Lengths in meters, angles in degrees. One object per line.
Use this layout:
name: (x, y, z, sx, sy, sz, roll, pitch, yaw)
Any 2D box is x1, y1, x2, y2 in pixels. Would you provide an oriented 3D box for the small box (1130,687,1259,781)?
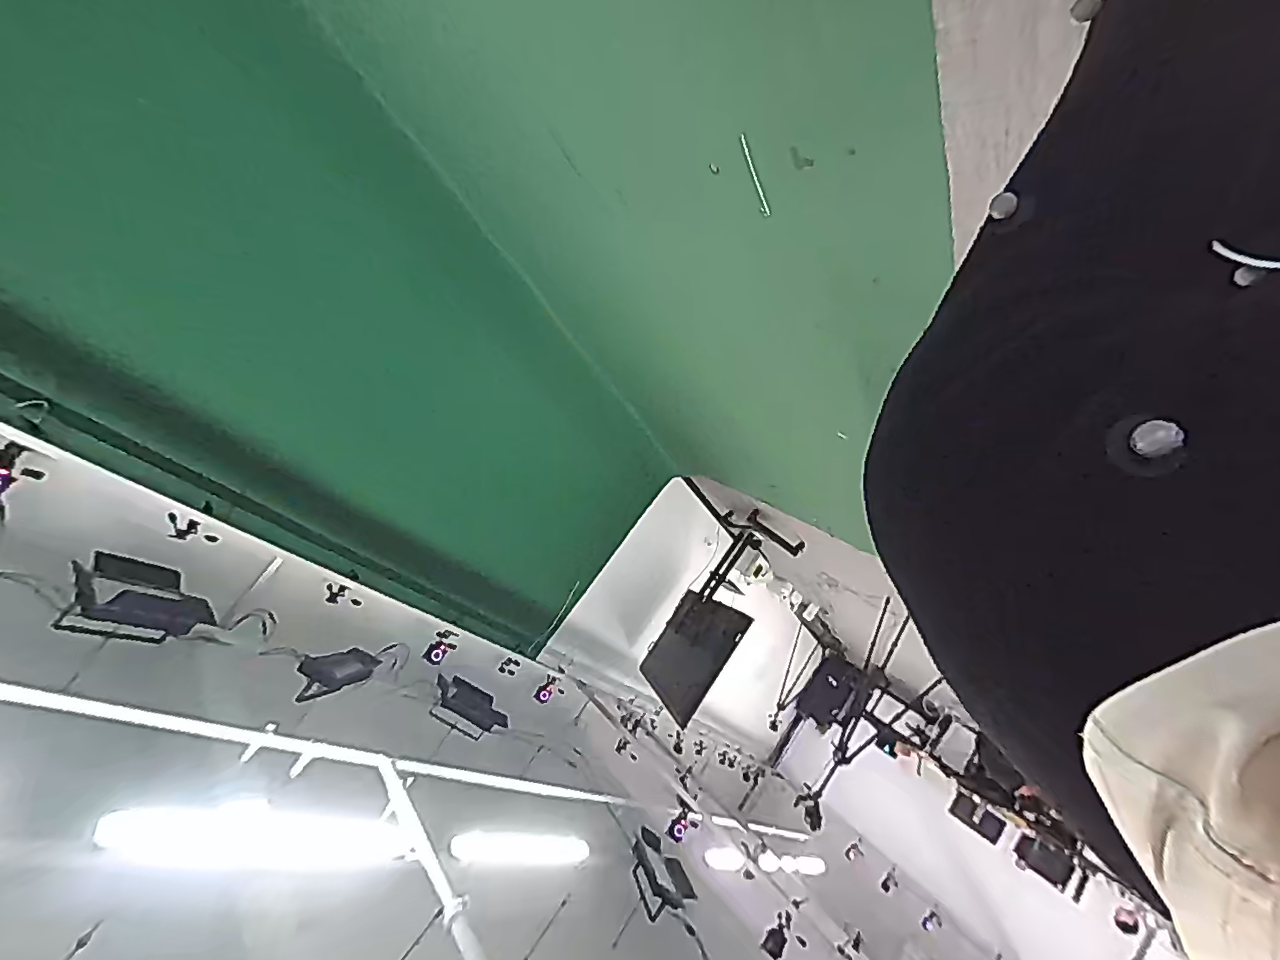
small box: (1.510, 0.687, 1.479, 0.179, 0.176, 0.168, 30, 168, 35)
